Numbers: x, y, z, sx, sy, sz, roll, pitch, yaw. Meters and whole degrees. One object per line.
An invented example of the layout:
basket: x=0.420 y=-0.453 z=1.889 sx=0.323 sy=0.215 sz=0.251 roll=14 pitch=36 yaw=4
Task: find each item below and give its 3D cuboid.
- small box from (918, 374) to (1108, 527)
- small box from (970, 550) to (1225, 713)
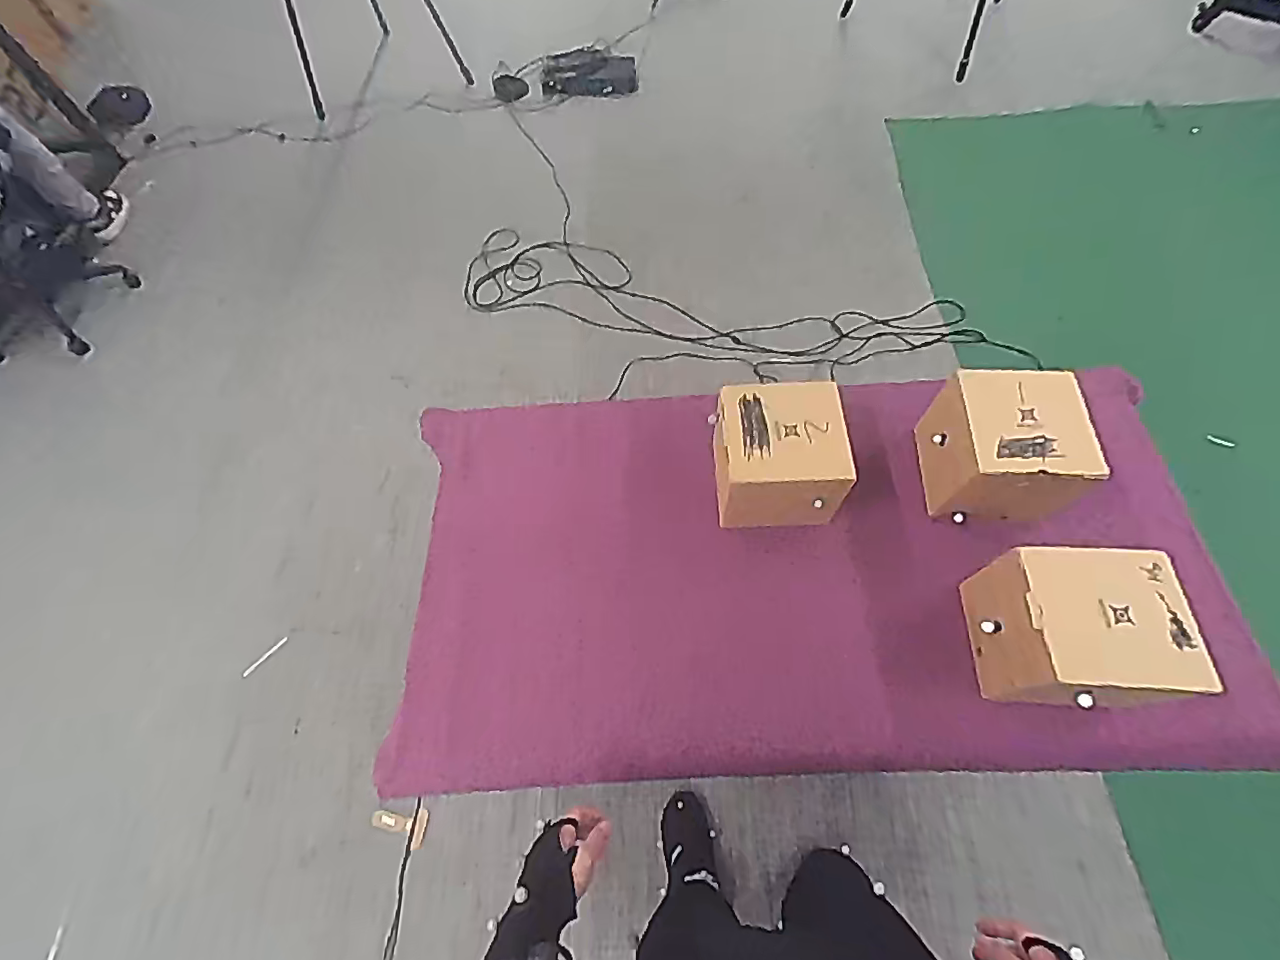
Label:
small box: x=0.547 y=-0.040 z=0.823 sx=0.168 sy=0.176 sz=0.179 roll=3 pitch=62 yaw=6
small box: x=0.556 y=0.200 z=0.696 sx=0.179 sy=0.176 sz=0.168 roll=2 pitch=62 yaw=6
